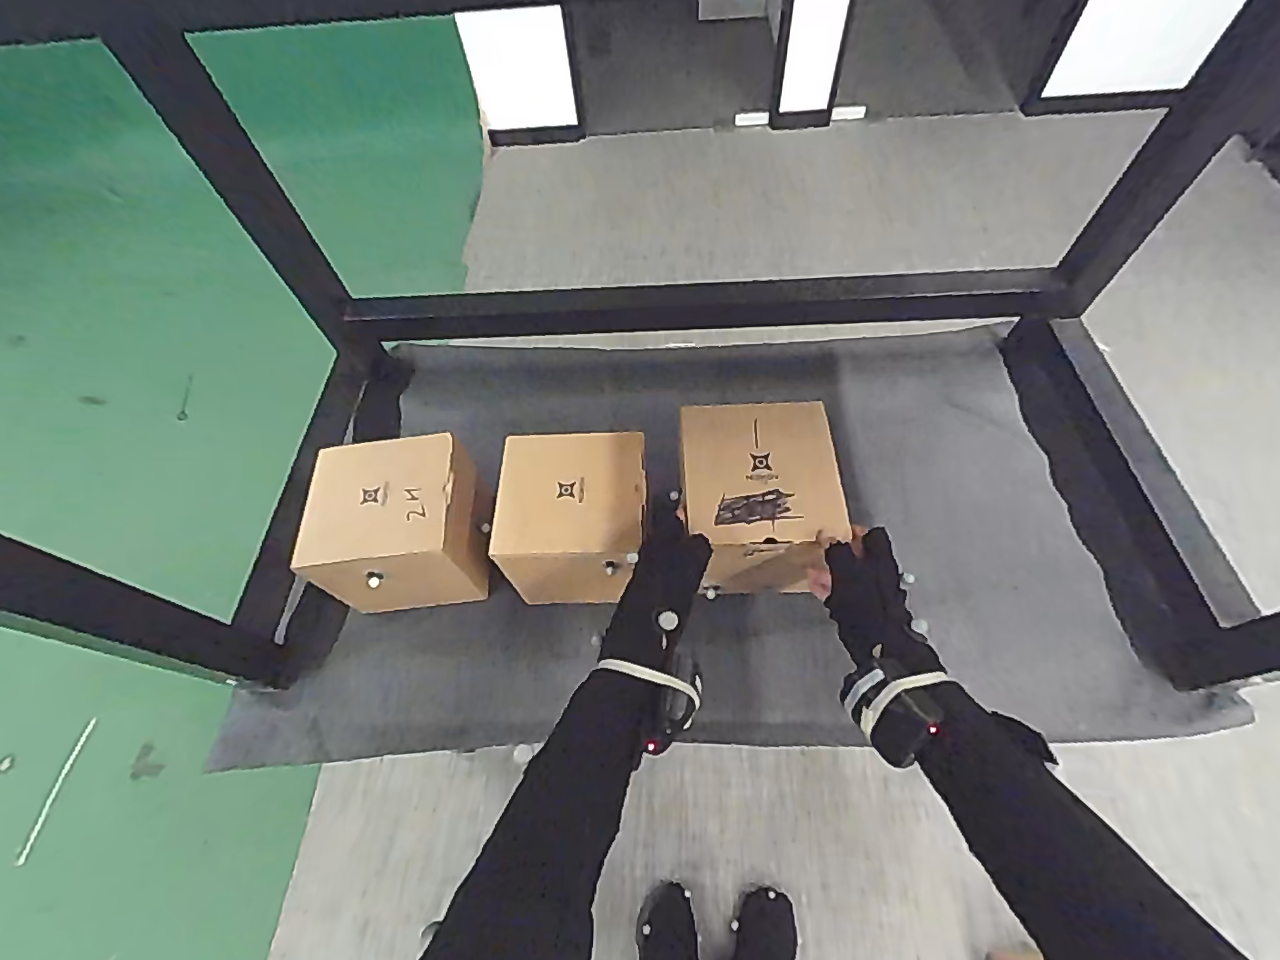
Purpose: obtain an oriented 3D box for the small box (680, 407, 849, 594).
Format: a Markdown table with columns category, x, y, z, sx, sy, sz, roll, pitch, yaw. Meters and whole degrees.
| category | x | y | z | sx | sy | sz | roll | pitch | yaw |
| --- | --- | --- | --- | --- | --- | --- | --- | --- | --- |
| small box | 0.133 | 0.034 | 0.647 | 0.168 | 0.176 | 0.179 | -1 | 61 | 2 |
